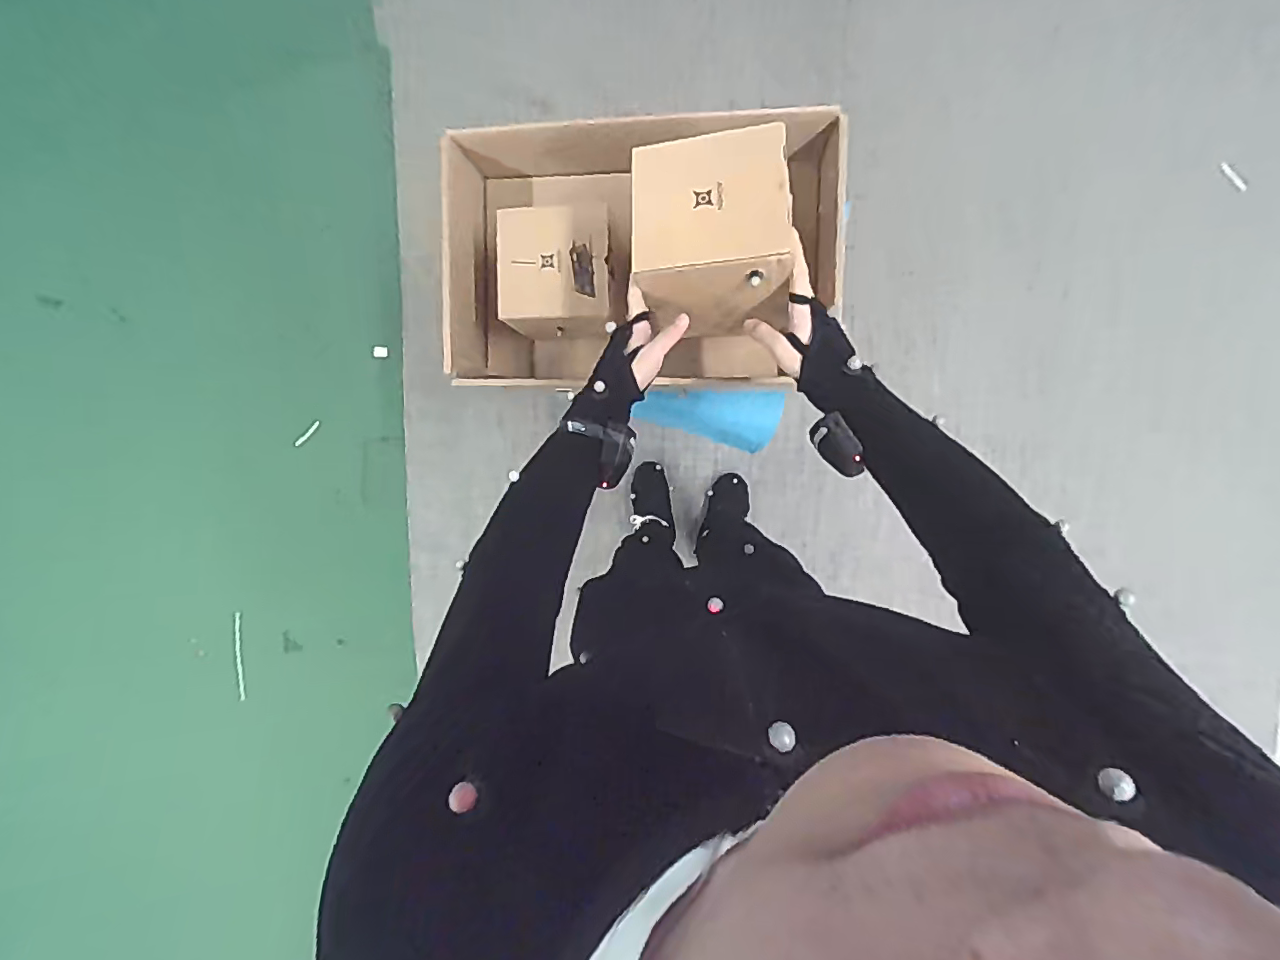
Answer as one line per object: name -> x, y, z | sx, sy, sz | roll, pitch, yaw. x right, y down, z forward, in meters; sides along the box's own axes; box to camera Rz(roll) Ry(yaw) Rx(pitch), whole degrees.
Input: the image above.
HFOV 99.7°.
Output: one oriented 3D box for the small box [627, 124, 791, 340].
small box -> 0.090, -0.287, 0.664 | 0.179, 0.176, 0.168 | -3, 76, 12
